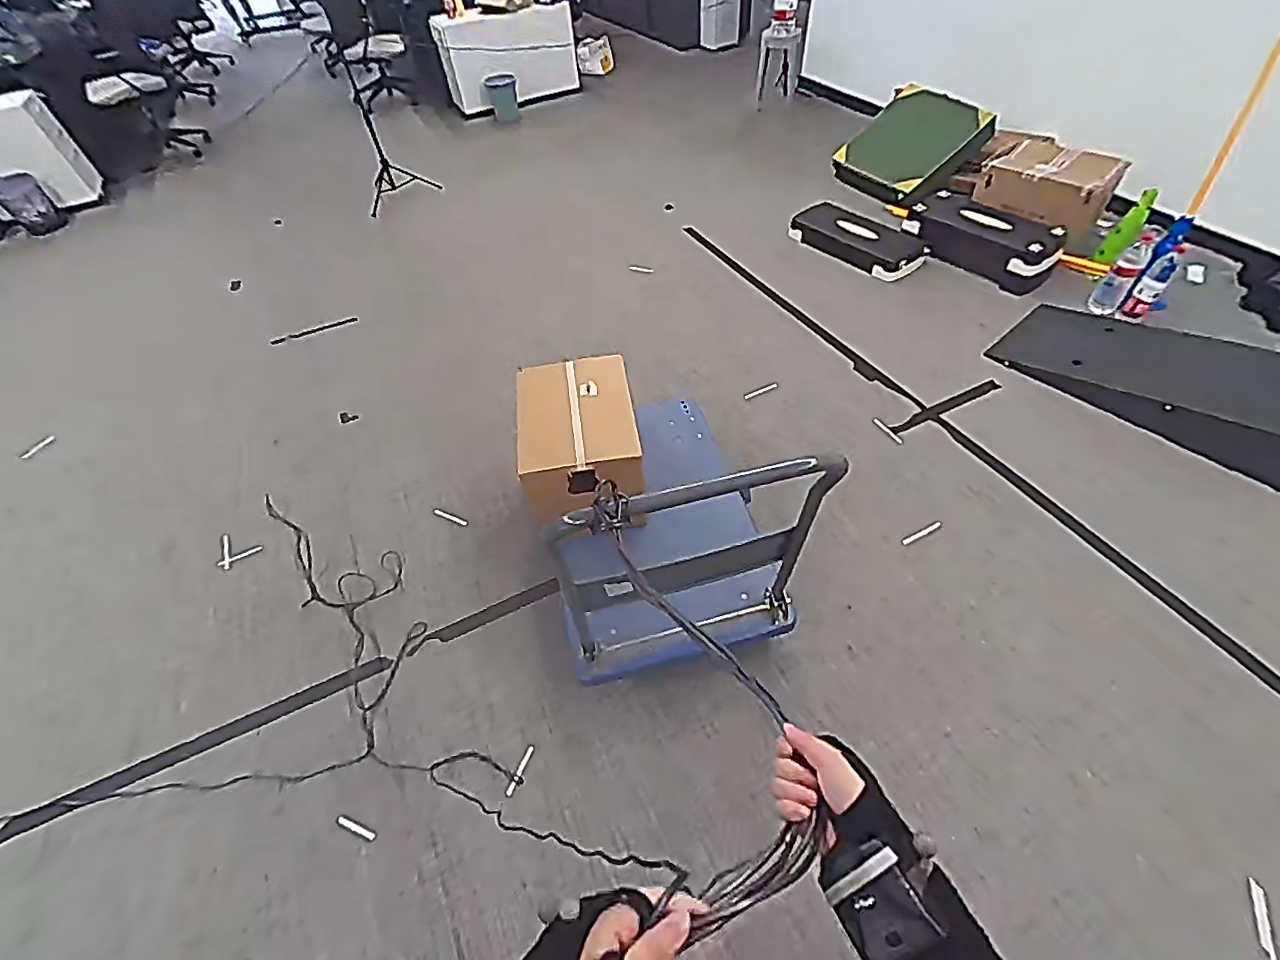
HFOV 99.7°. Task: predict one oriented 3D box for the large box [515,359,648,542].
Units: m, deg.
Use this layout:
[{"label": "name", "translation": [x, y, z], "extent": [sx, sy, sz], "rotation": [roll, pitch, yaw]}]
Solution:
[{"label": "large box", "translation": [-0.169, -0.085, 1.562], "extent": [0.320, 0.320, 0.408], "rotation": [-9, 51, -3]}]
